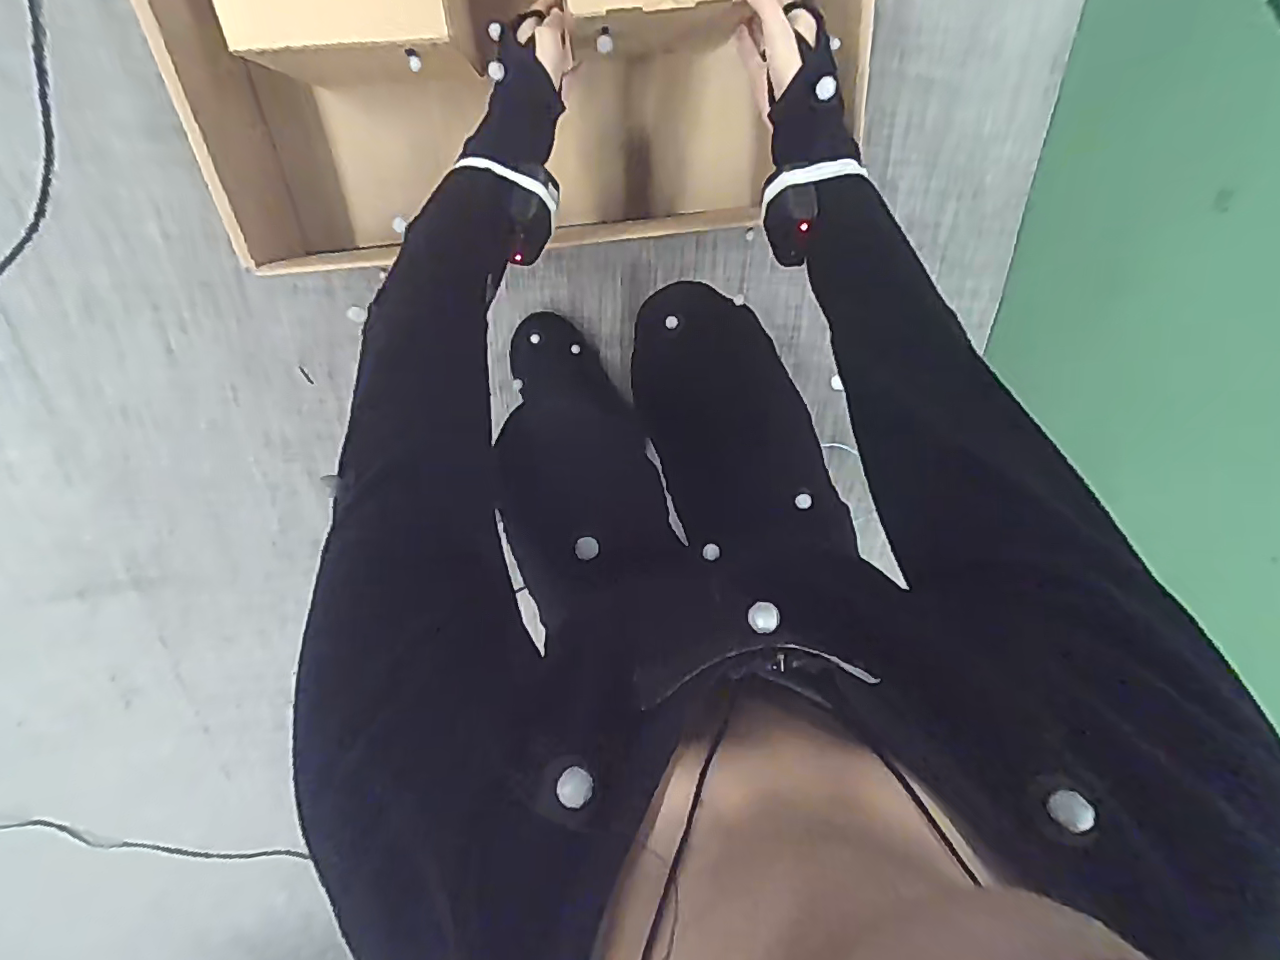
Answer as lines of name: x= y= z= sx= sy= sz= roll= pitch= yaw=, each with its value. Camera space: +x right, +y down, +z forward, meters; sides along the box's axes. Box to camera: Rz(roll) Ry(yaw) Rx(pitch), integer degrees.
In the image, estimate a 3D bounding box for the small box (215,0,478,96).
small box: x=-0.256 y=-0.453 z=0.475 sx=0.179 sy=0.176 sz=0.168 roll=-7 pitch=118 yaw=-4
